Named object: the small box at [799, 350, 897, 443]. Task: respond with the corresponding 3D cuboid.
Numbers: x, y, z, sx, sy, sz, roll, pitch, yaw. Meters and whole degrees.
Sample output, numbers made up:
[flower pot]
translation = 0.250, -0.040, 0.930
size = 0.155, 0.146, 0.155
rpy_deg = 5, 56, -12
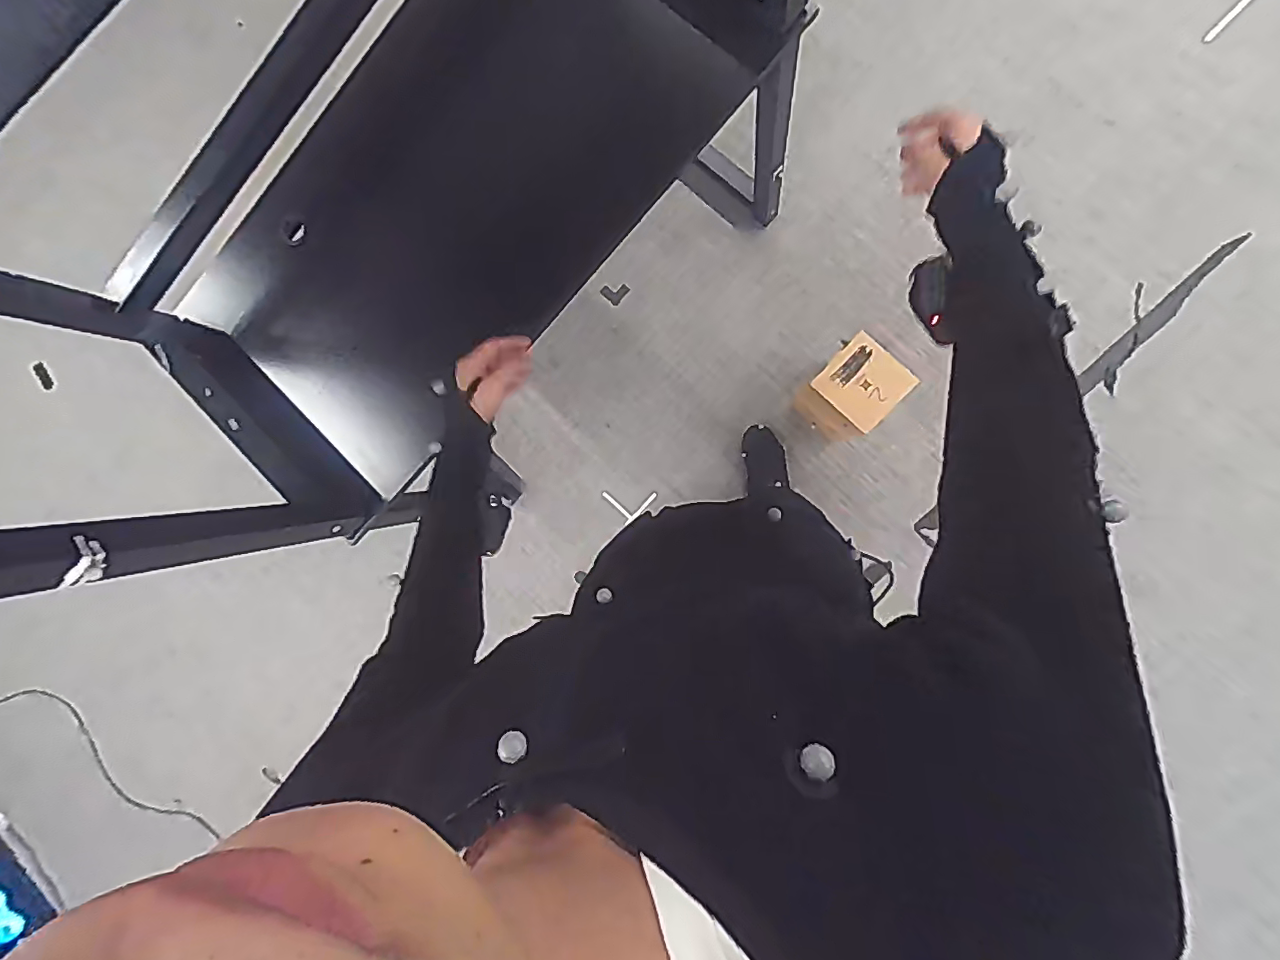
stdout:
[small box]
translation = 0.547, -0.218, 1.457
size = 0.168, 0.176, 0.179
rpy_deg = 43, 99, 7
